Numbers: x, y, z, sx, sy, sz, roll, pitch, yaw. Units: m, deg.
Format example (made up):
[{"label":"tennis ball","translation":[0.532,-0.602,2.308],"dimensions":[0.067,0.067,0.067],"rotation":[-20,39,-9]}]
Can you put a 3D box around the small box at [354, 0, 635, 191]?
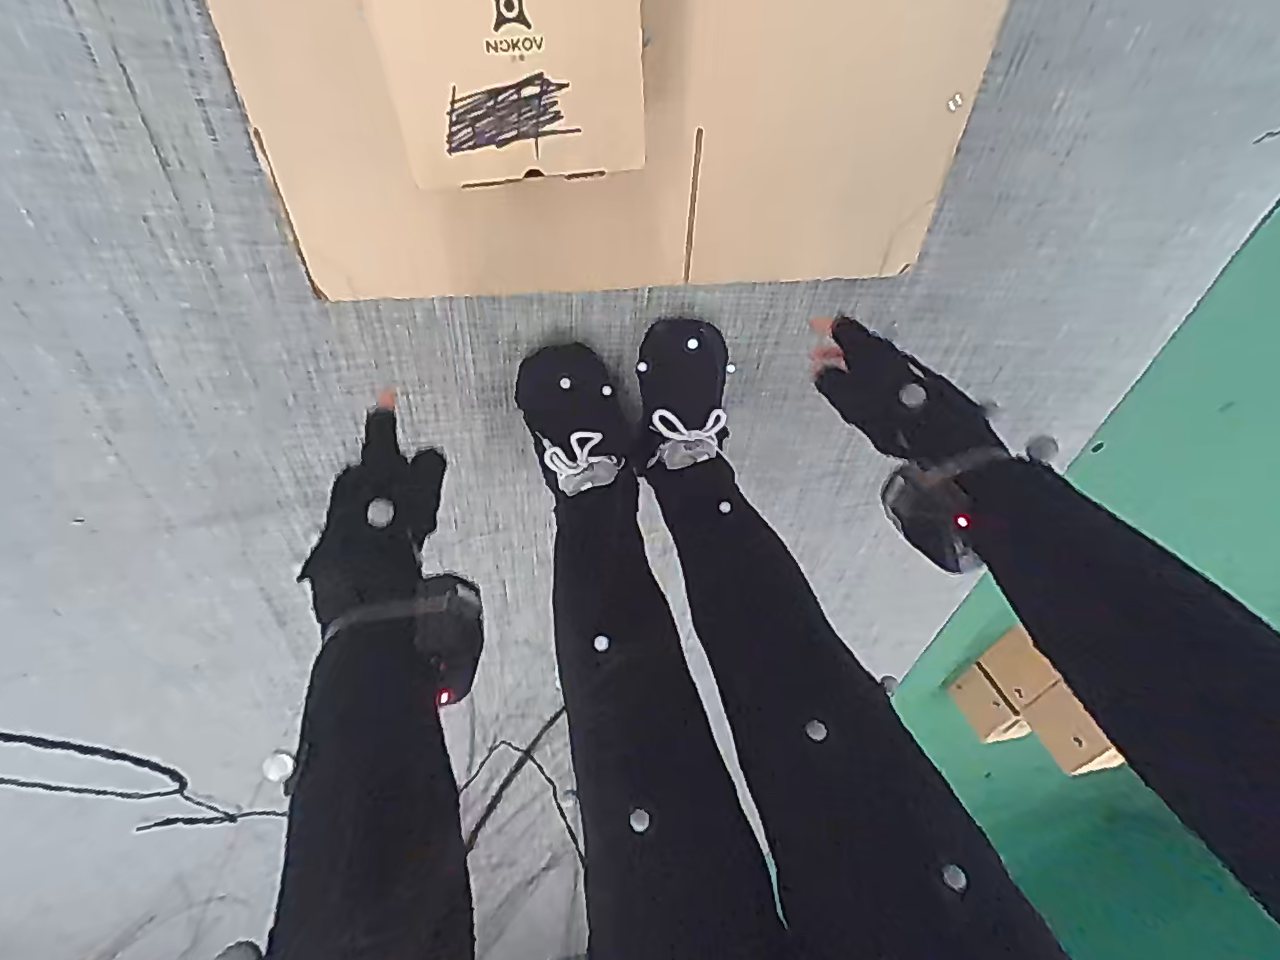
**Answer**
[{"label":"small box","translation":[-0.100,-0.332,0.391],"dimensions":[0.168,0.176,0.179],"rotation":[-10,132,-7]}]

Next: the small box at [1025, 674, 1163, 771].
[{"label":"small box","translation":[1.143,0.609,1.379],"dimensions":[0.168,0.176,0.179],"rotation":[-1,132,-15]}]
